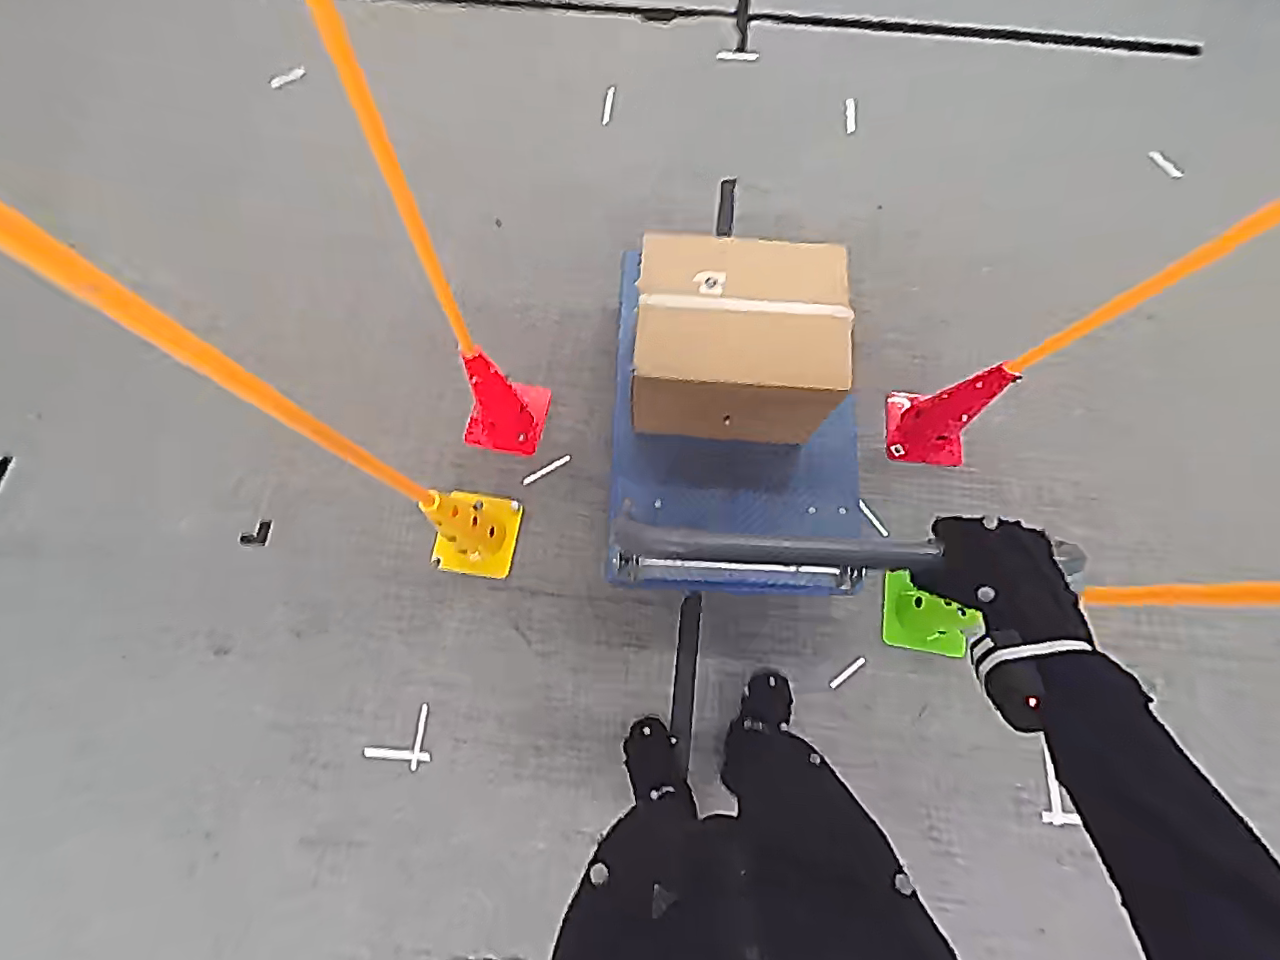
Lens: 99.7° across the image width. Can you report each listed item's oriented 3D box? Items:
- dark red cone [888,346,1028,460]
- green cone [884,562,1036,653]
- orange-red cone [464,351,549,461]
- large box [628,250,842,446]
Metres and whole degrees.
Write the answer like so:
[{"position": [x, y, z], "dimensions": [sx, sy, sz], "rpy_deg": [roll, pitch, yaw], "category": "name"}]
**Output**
[{"position": [0.772, -0.200, 1.294], "dimensions": [0.201, 0.394, 0.202], "rpy_deg": [6, 74, 0], "category": "dark red cone"}, {"position": [0.707, 0.266, 1.173], "dimensions": [0.202, 0.368, 0.200], "rpy_deg": [9, 74, 1], "category": "green cone"}, {"position": [-0.362, -0.210, 1.319], "dimensions": [0.198, 0.360, 0.199], "rpy_deg": [12, 72, 3], "category": "orange-red cone"}, {"position": [0.186, -0.269, 1.185], "dimensions": [0.408, 0.320, 0.320], "rpy_deg": [3, 75, 1], "category": "large box"}]
